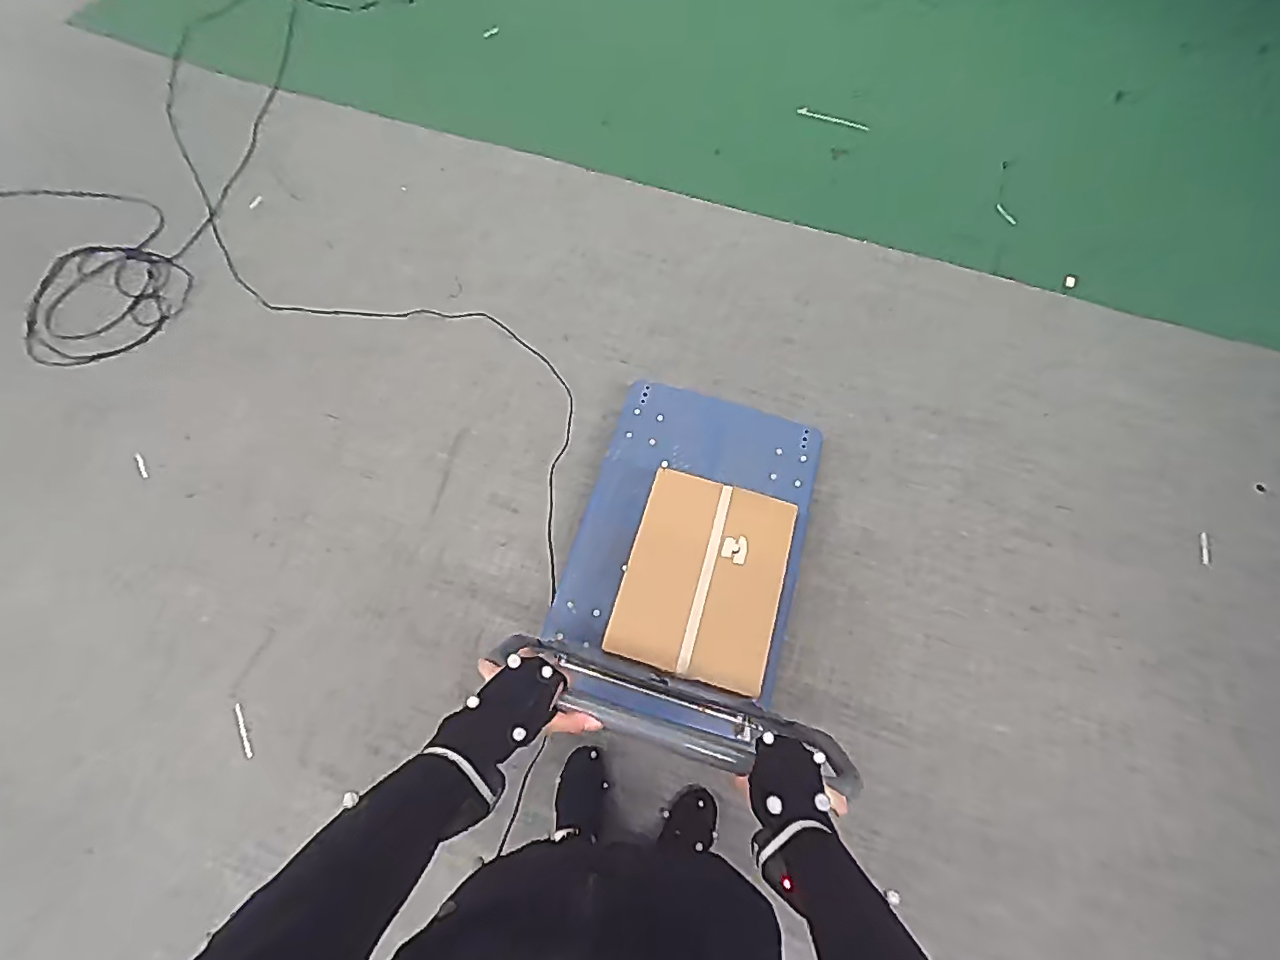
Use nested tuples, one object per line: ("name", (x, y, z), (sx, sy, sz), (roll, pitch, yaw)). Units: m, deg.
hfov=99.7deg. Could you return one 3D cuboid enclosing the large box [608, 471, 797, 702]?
("large box", (0.131, 0.252, 1.222), (0.320, 0.320, 0.408), (16, 67, 4))
